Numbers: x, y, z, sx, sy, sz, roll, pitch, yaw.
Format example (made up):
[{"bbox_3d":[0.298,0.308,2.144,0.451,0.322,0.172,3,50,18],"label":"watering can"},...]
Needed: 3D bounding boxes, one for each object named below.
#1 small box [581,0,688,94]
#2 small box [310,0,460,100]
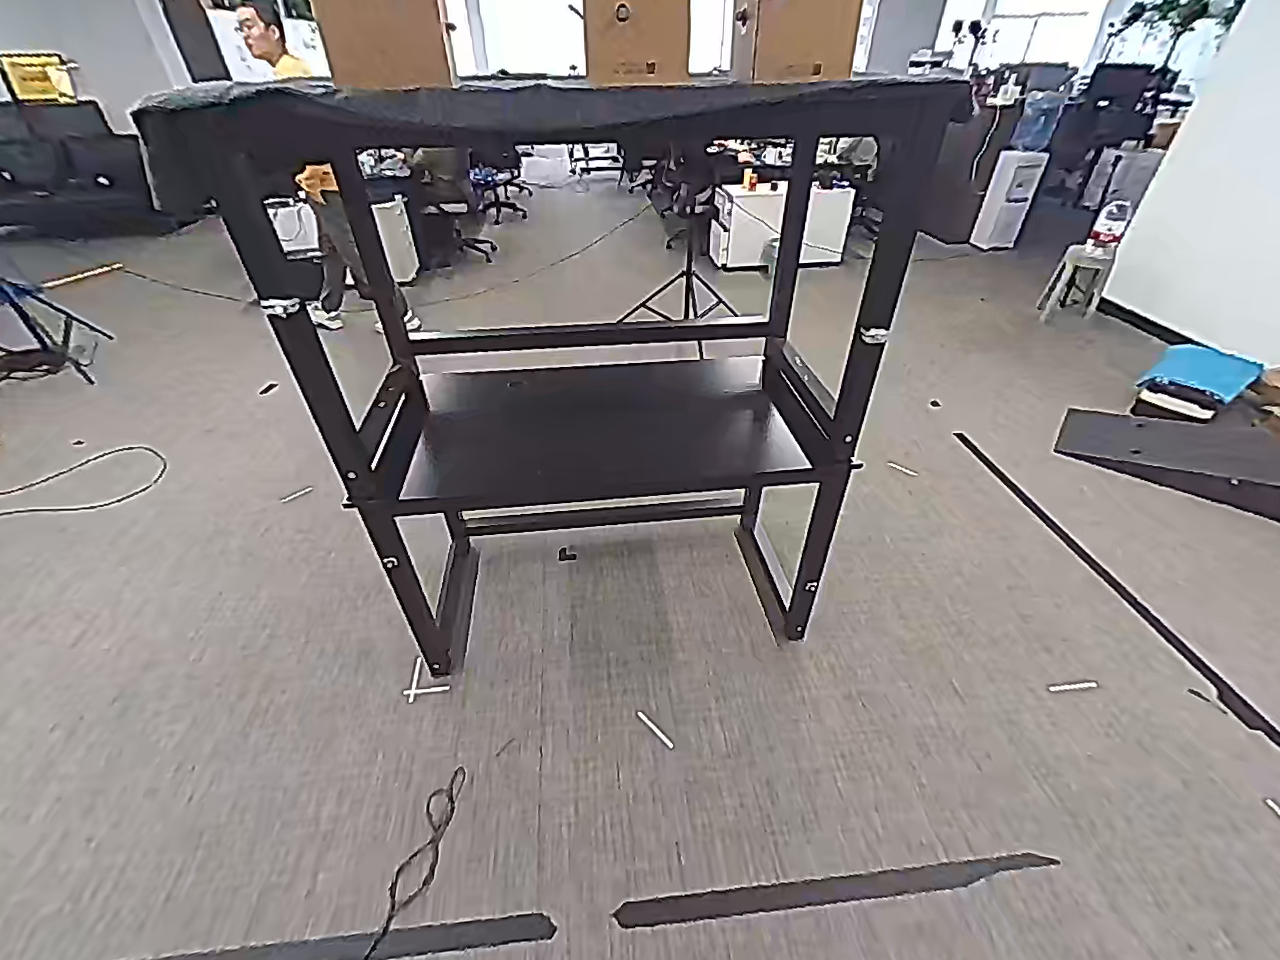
[{"bbox_3d":[-0.010,-0.744,0.891,0.168,0.176,0.179,-3,37,-2],"label":"small box"},{"bbox_3d":[-0.387,-0.700,0.840,0.179,0.176,0.168,-7,37,-8],"label":"small box"}]
